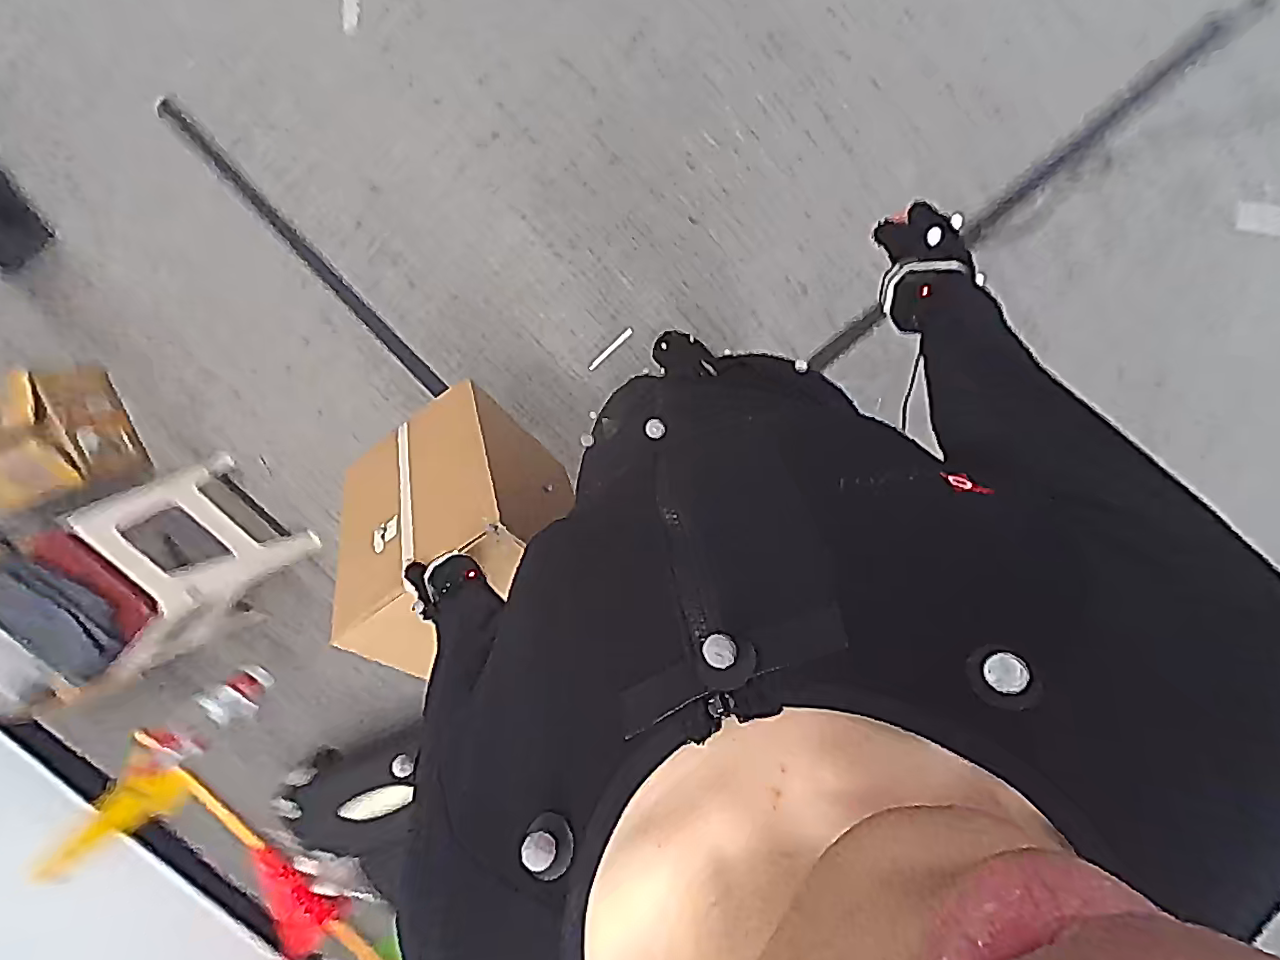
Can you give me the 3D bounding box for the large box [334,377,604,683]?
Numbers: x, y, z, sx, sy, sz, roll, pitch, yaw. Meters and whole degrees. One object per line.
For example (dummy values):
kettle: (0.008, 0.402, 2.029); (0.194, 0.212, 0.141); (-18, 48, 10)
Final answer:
large box: (-0.316, 0.090, 1.004); (0.320, 0.408, 0.320); (-34, 136, 7)
